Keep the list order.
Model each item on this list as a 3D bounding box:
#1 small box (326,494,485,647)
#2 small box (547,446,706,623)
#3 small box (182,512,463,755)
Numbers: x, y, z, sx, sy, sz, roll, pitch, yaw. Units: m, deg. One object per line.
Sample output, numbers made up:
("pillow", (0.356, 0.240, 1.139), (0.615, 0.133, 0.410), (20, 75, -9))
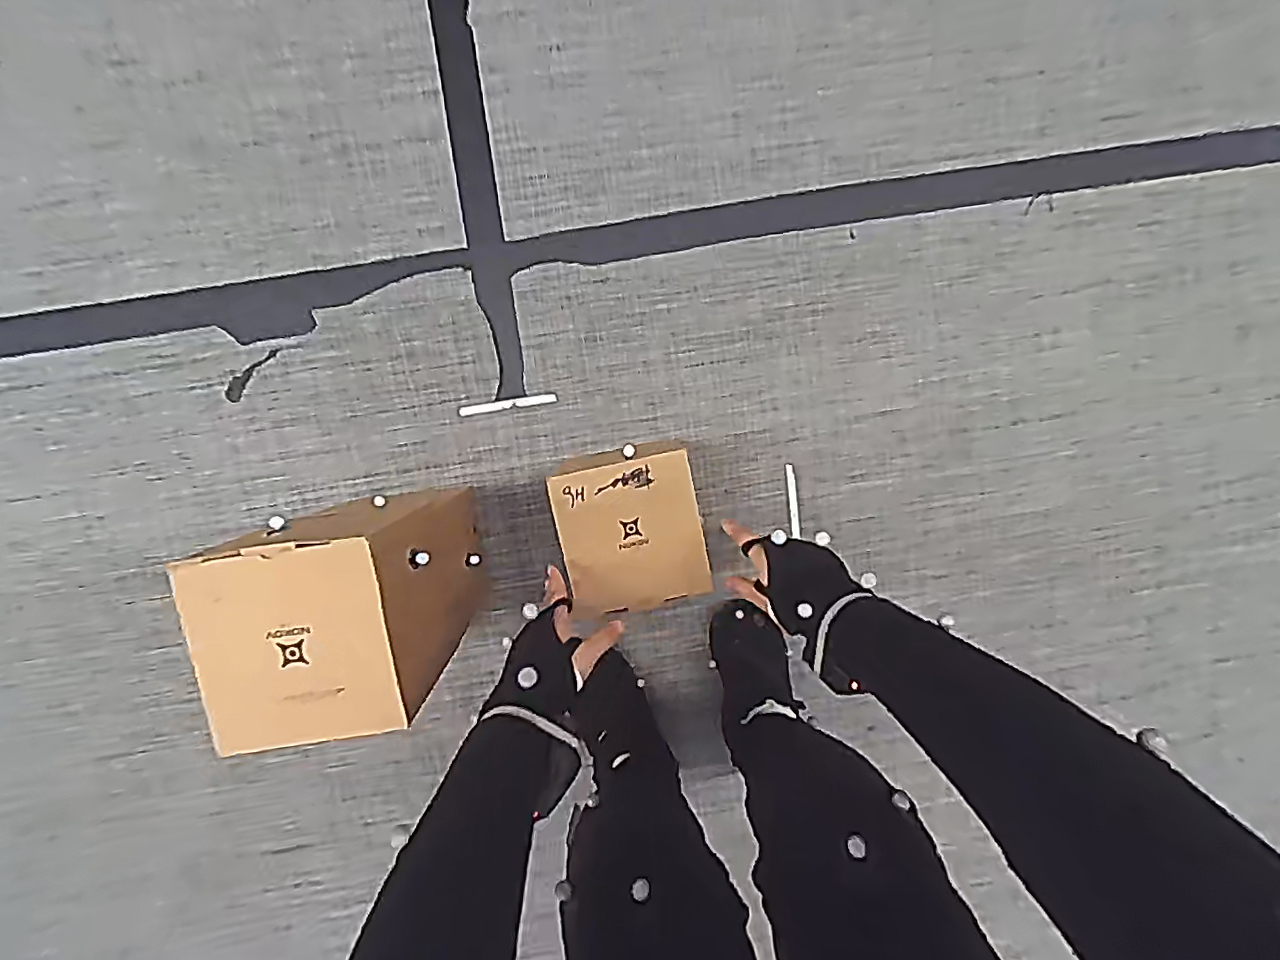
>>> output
("small box", (-0.309, 0.118, 0.703), (0.179, 0.176, 0.168), (-7, 98, -2))
("small box", (-0.017, 0.061, 0.715), (0.168, 0.176, 0.179), (-12, 99, -2))
("small box", (-0.293, 0.134, 0.542), (0.168, 0.176, 0.179), (-8, 100, -1))
